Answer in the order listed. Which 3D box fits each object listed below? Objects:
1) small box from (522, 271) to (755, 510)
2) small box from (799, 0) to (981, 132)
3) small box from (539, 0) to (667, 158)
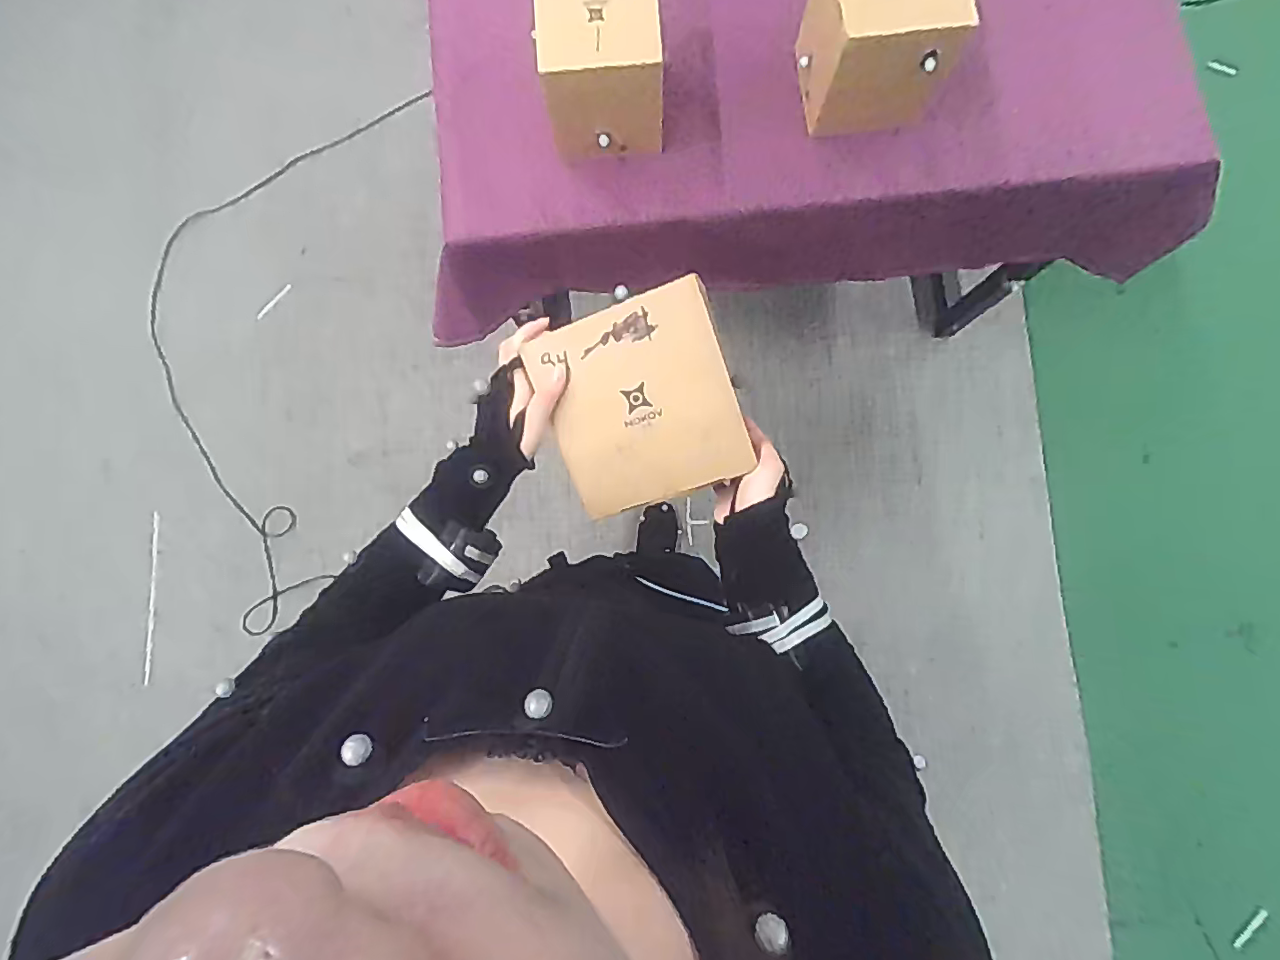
[{"bbox_3d":[0.012,-0.097,0.550,0.168,0.176,0.179,-18,106,13],"label":"small box"},{"bbox_3d":[0.348,-0.642,0.782,0.179,0.176,0.168,-5,82,1],"label":"small box"},{"bbox_3d":[-0.050,-0.611,0.790,0.168,0.176,0.179,-4,84,1],"label":"small box"}]
